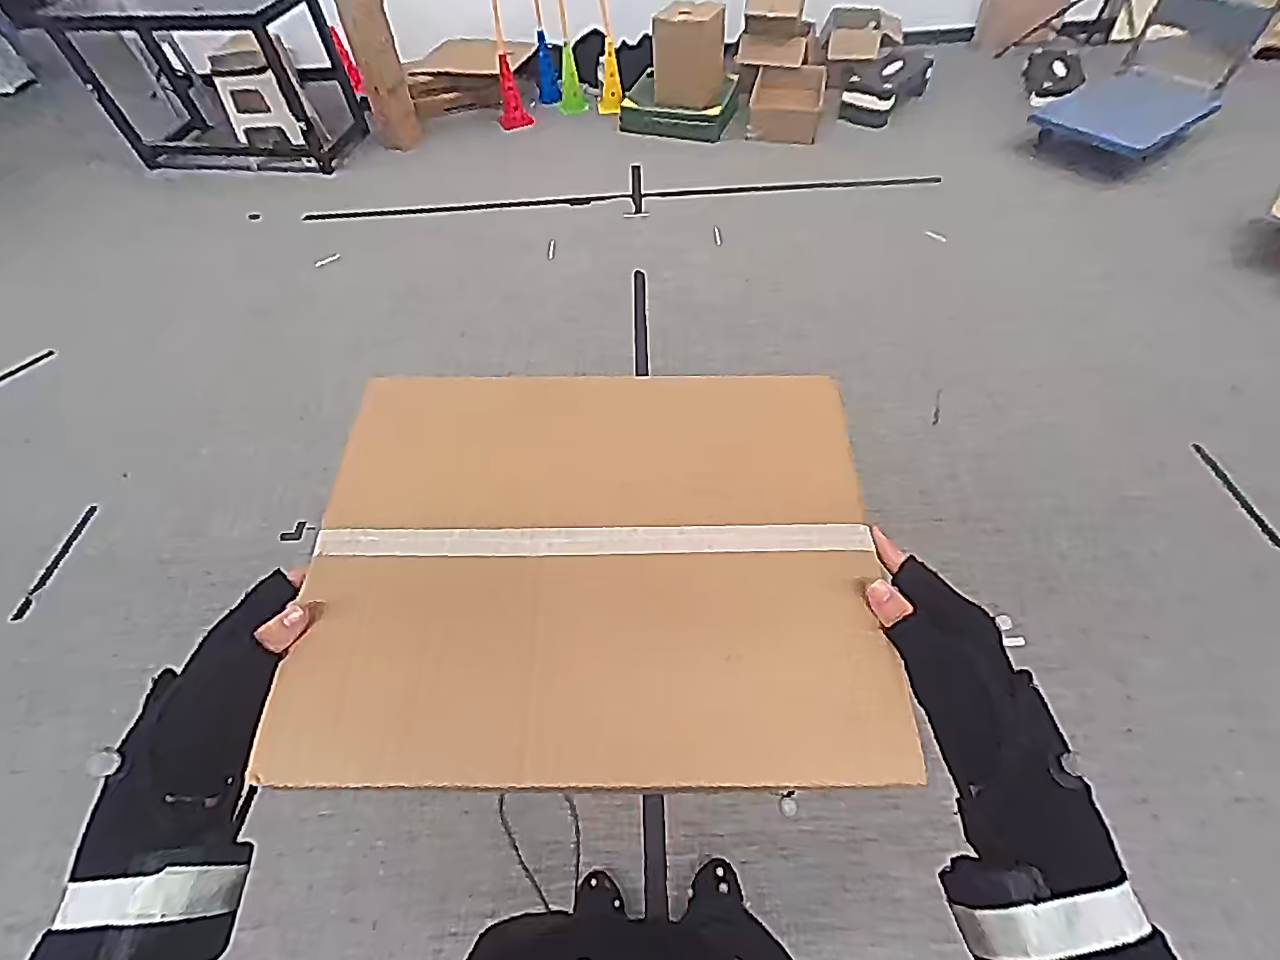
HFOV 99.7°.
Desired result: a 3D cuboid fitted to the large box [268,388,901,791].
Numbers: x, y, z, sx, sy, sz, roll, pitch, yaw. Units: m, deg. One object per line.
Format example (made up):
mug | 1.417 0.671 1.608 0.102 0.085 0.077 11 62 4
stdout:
large box | -0.034 0.125 0.536 0.408 0.320 0.320 0 60 0
